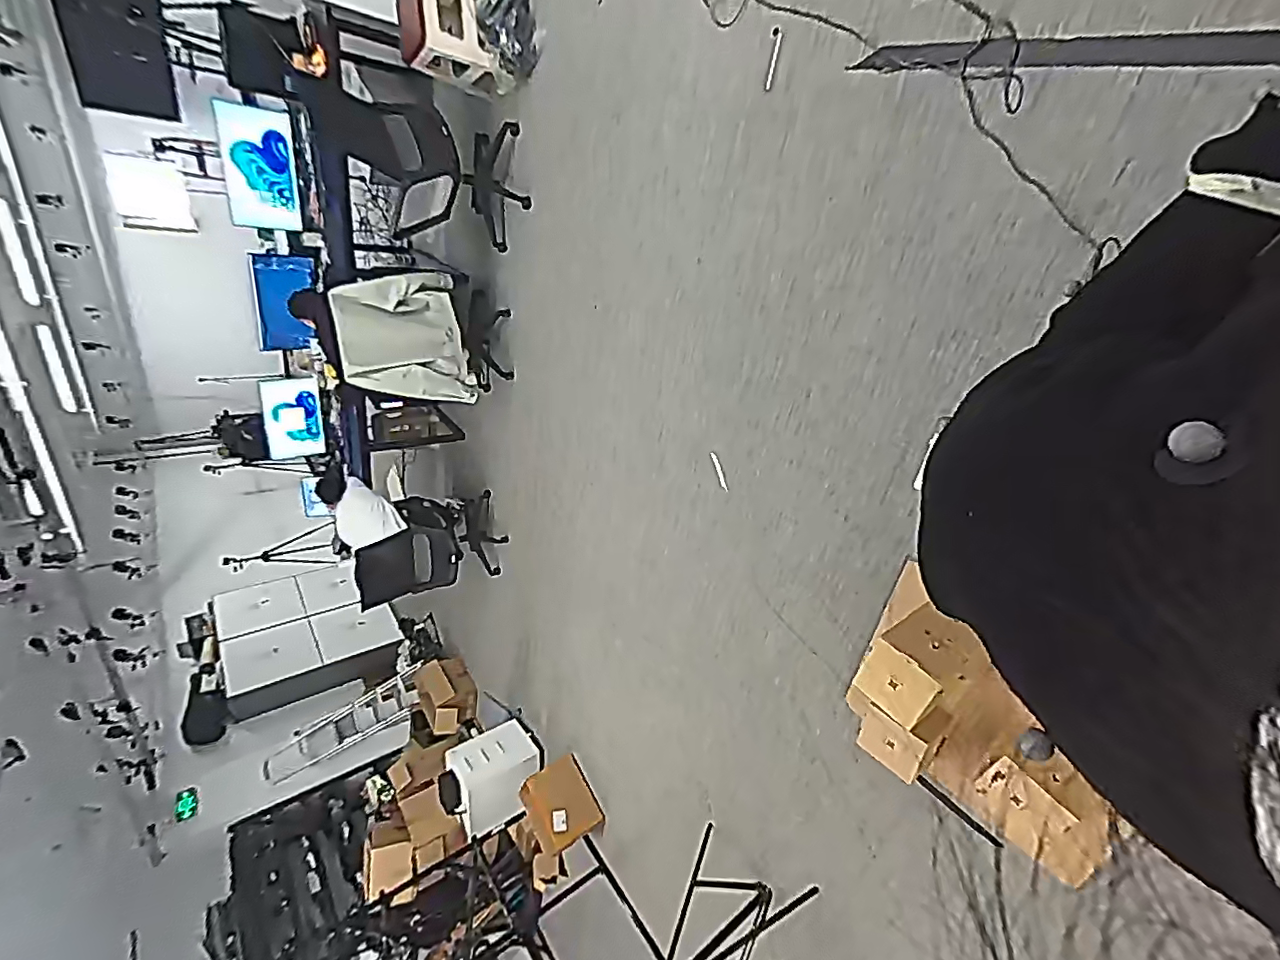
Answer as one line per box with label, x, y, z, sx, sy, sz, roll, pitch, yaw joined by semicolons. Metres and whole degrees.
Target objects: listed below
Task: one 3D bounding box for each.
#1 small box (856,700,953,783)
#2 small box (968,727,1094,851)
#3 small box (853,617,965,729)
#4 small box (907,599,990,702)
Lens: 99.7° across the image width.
small box;0.775;0.734;1.588;0.179;0.176;0.168;31;125;44
small box;0.970;0.758;1.340;0.179;0.176;0.168;44;131;34
small box;0.681;0.480;1.365;0.168;0.176;0.179;40;128;38
small box;0.808;0.453;1.463;0.168;0.176;0.179;36;126;40
